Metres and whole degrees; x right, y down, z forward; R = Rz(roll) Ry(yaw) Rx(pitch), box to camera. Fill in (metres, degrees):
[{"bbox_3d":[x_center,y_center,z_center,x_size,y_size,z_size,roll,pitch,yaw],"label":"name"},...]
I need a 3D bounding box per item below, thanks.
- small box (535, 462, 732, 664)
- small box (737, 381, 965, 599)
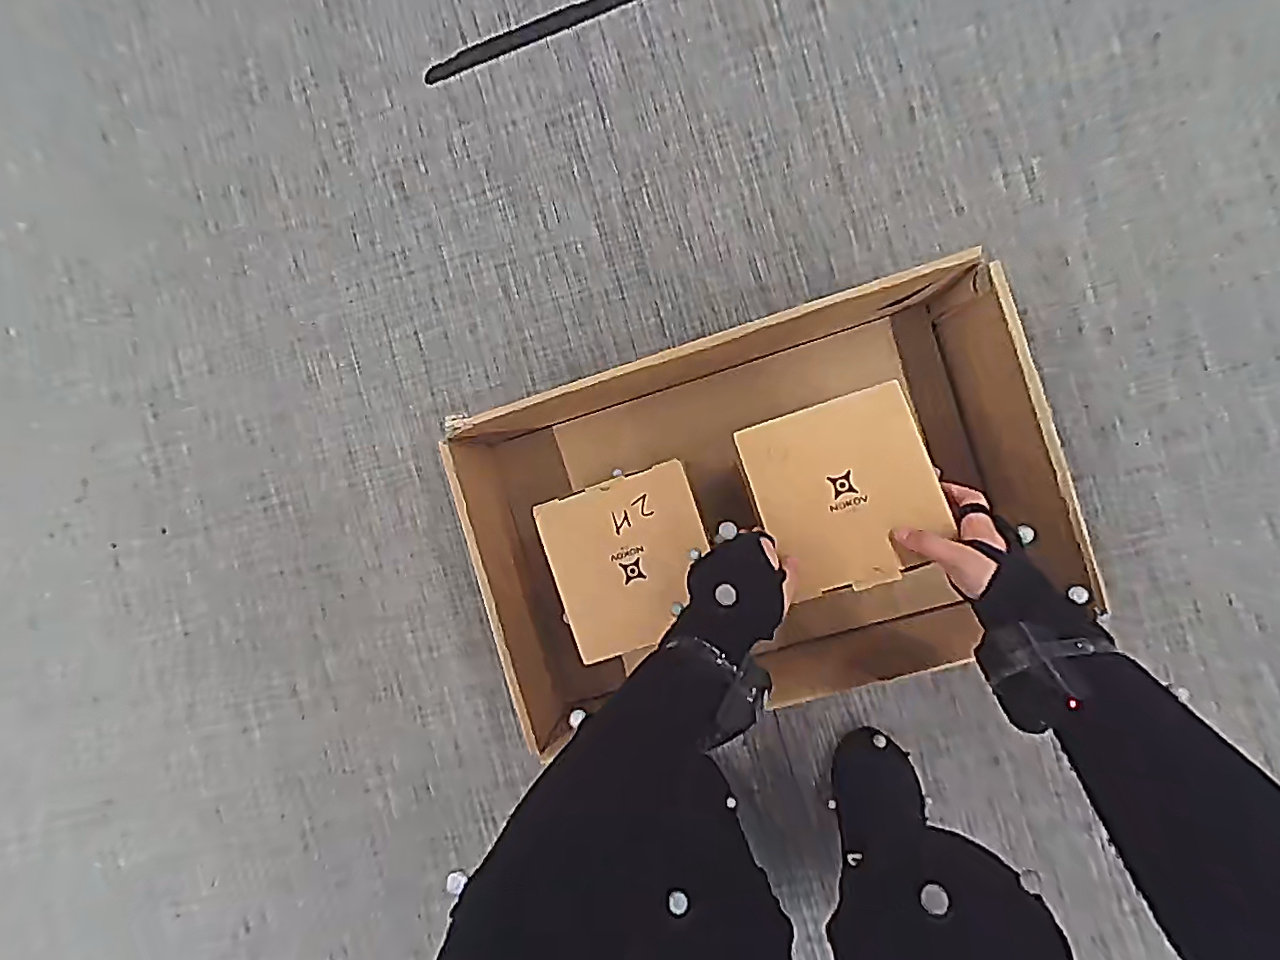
[{"bbox_3d":[0.001,0.085,0.632,0.168,0.176,0.179,-18,88,5],"label":"small box"},{"bbox_3d":[0.208,0.020,0.590,0.168,0.176,0.179,-18,80,8],"label":"small box"}]
